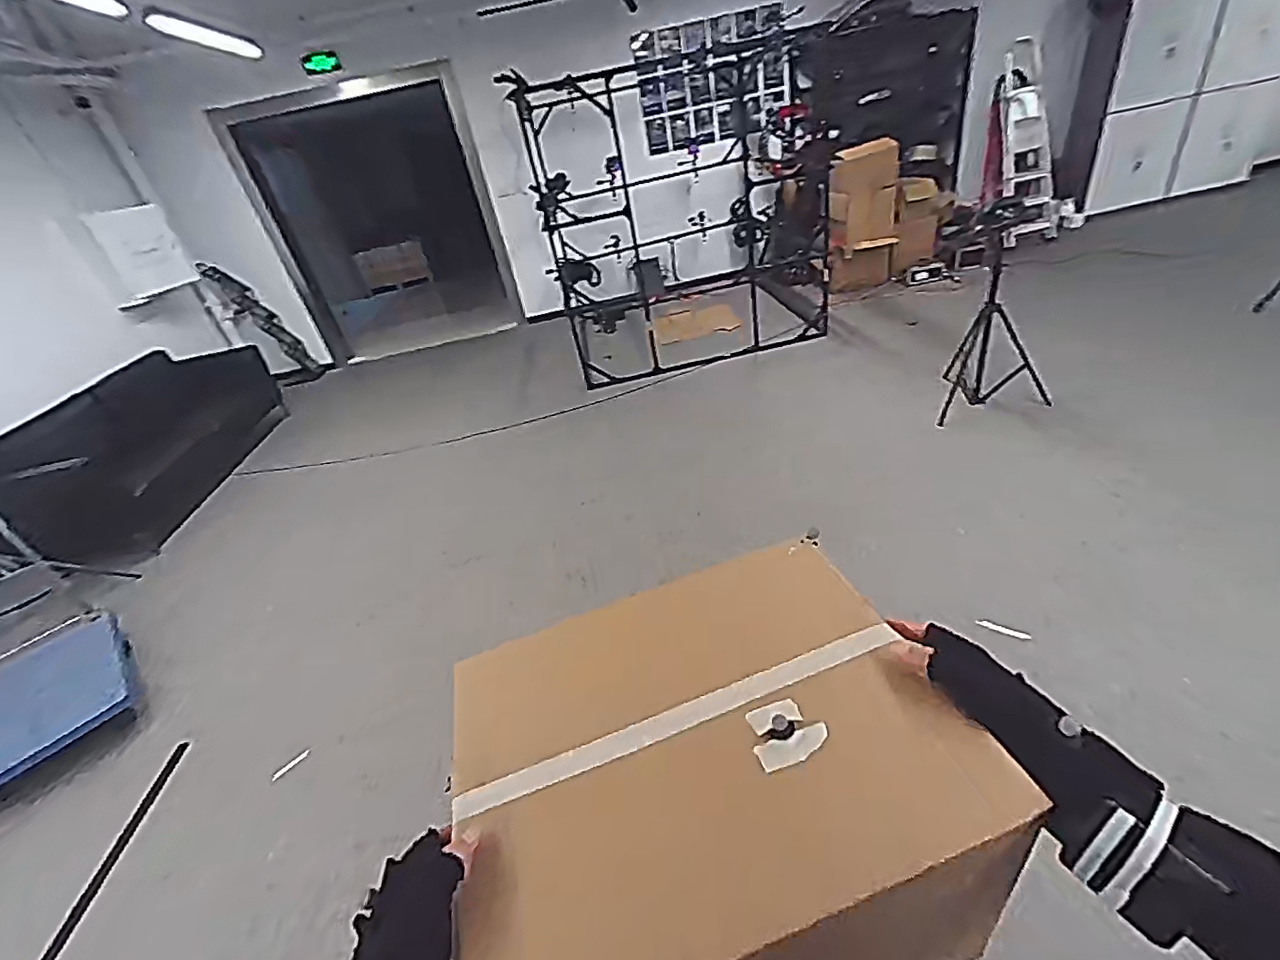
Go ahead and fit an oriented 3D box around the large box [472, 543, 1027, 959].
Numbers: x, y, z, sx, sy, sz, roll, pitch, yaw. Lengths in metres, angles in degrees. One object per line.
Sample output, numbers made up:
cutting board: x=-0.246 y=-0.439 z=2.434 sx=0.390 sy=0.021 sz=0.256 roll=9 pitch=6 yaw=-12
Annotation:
large box: x=0.077 y=0.330 z=0.557 sx=0.408 sy=0.320 sz=0.320 roll=-18 pitch=34 yaw=-7
